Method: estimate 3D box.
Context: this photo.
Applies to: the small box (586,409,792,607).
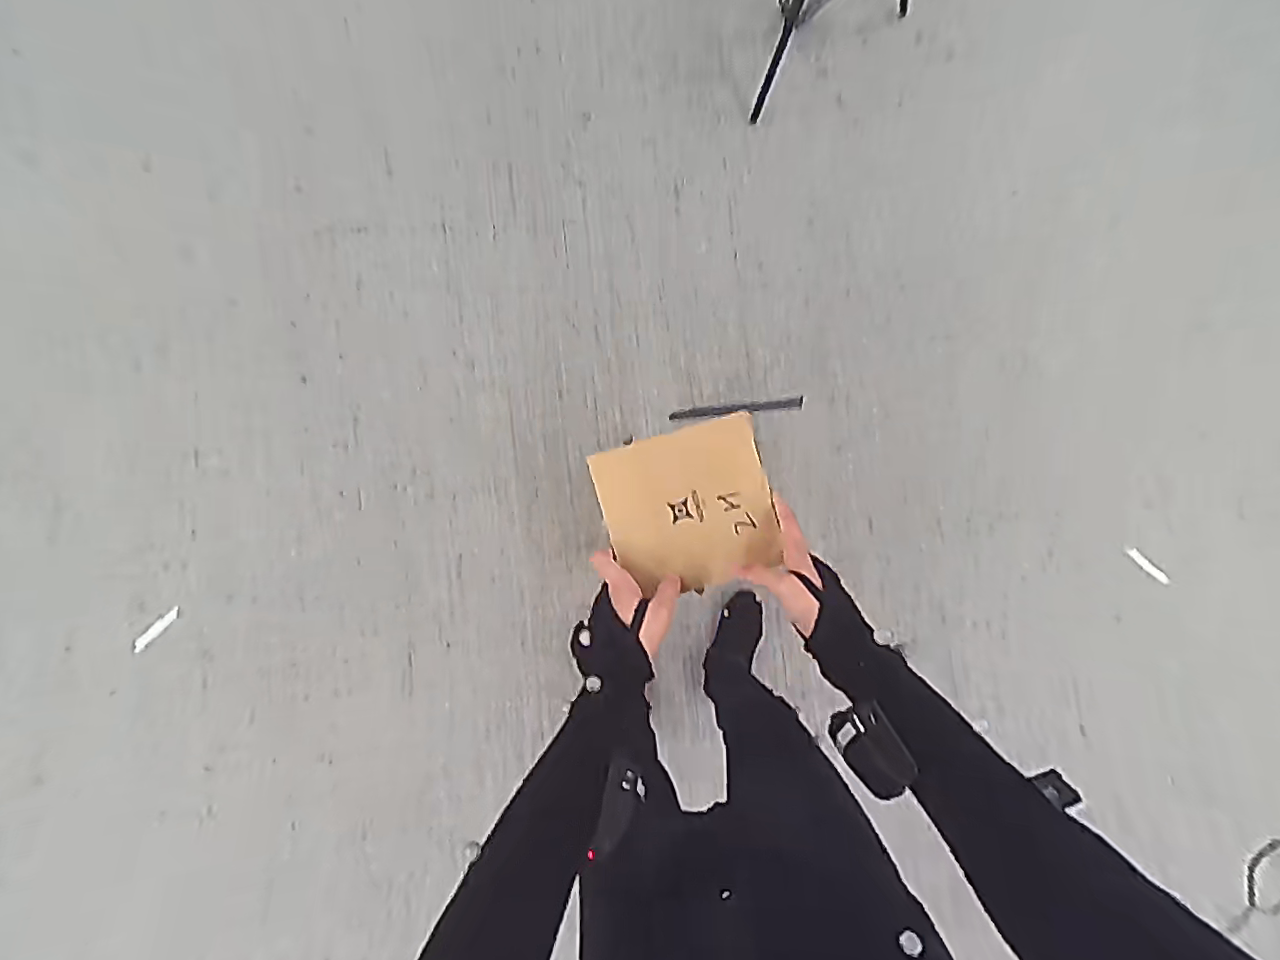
[{"bbox_3d":[0.053,0.028,0.625,0.179,0.176,0.168,-17,91,2],"label":"small box"}]
